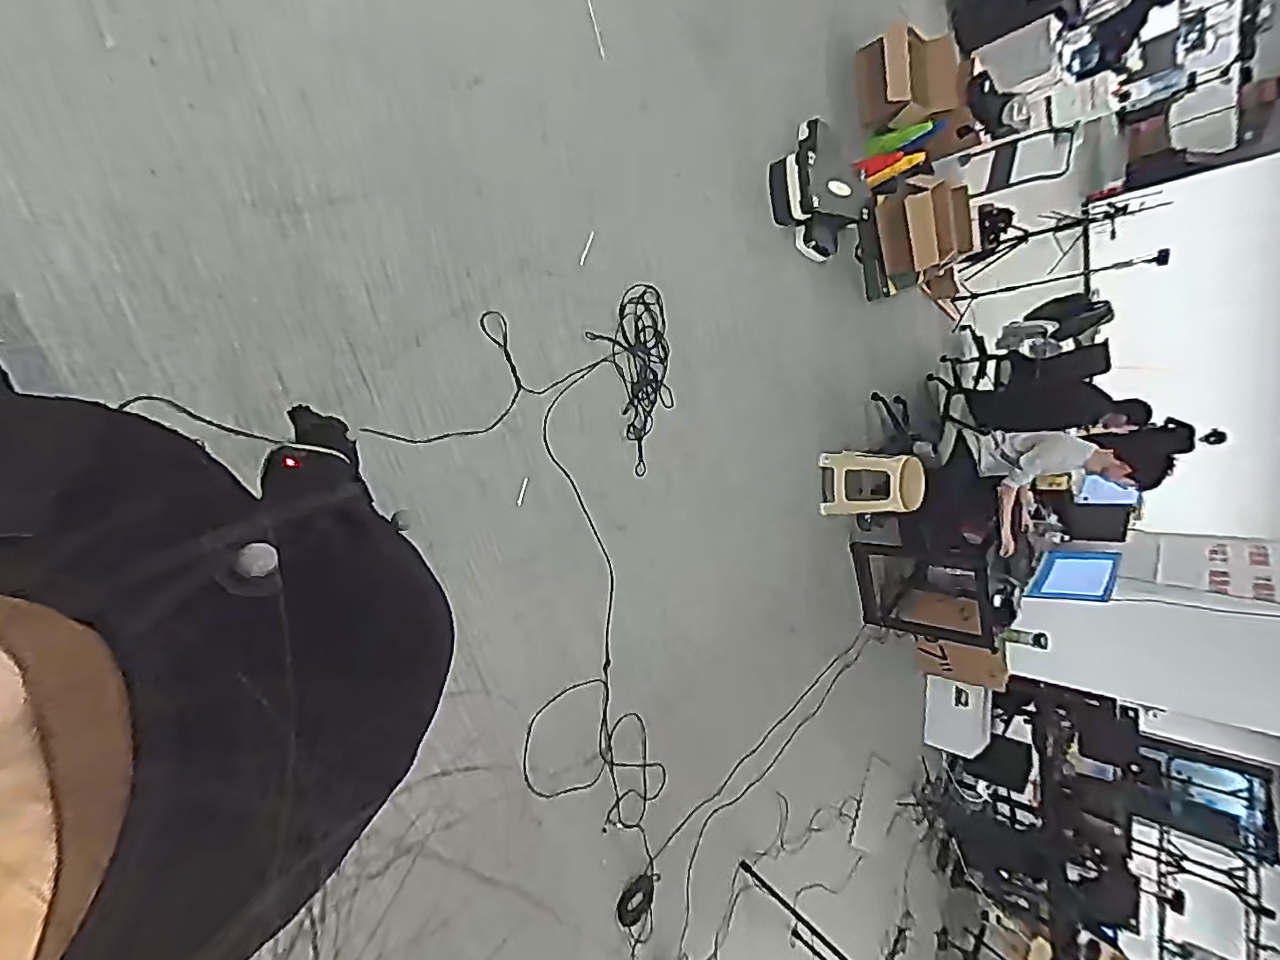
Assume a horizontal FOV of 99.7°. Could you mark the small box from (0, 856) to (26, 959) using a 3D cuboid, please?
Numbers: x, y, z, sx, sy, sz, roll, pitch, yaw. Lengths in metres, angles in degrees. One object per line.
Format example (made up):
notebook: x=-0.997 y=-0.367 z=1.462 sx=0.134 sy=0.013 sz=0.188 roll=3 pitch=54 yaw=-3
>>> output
small box: x=-1.161 y=0.736 z=0.880 sx=0.168 sy=0.176 sz=0.179 roll=-26 pitch=109 yaw=-41
